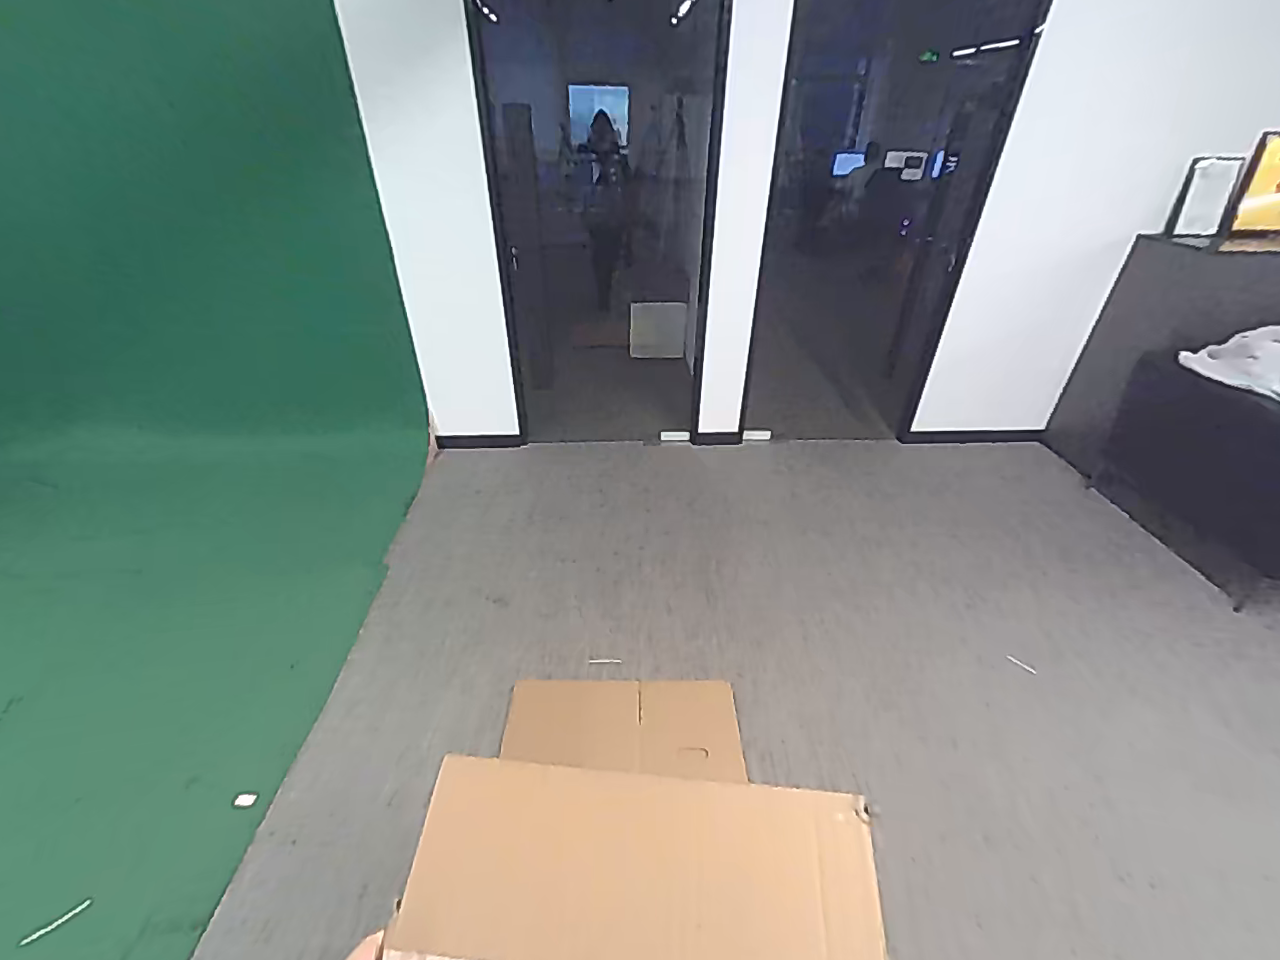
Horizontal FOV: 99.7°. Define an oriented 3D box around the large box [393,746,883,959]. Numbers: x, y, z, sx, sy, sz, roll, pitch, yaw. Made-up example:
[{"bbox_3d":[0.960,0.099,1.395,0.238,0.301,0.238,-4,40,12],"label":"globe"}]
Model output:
[{"bbox_3d":[-0.003,0.487,0.548,0.408,0.320,0.320,4,53,4],"label":"large box"}]
